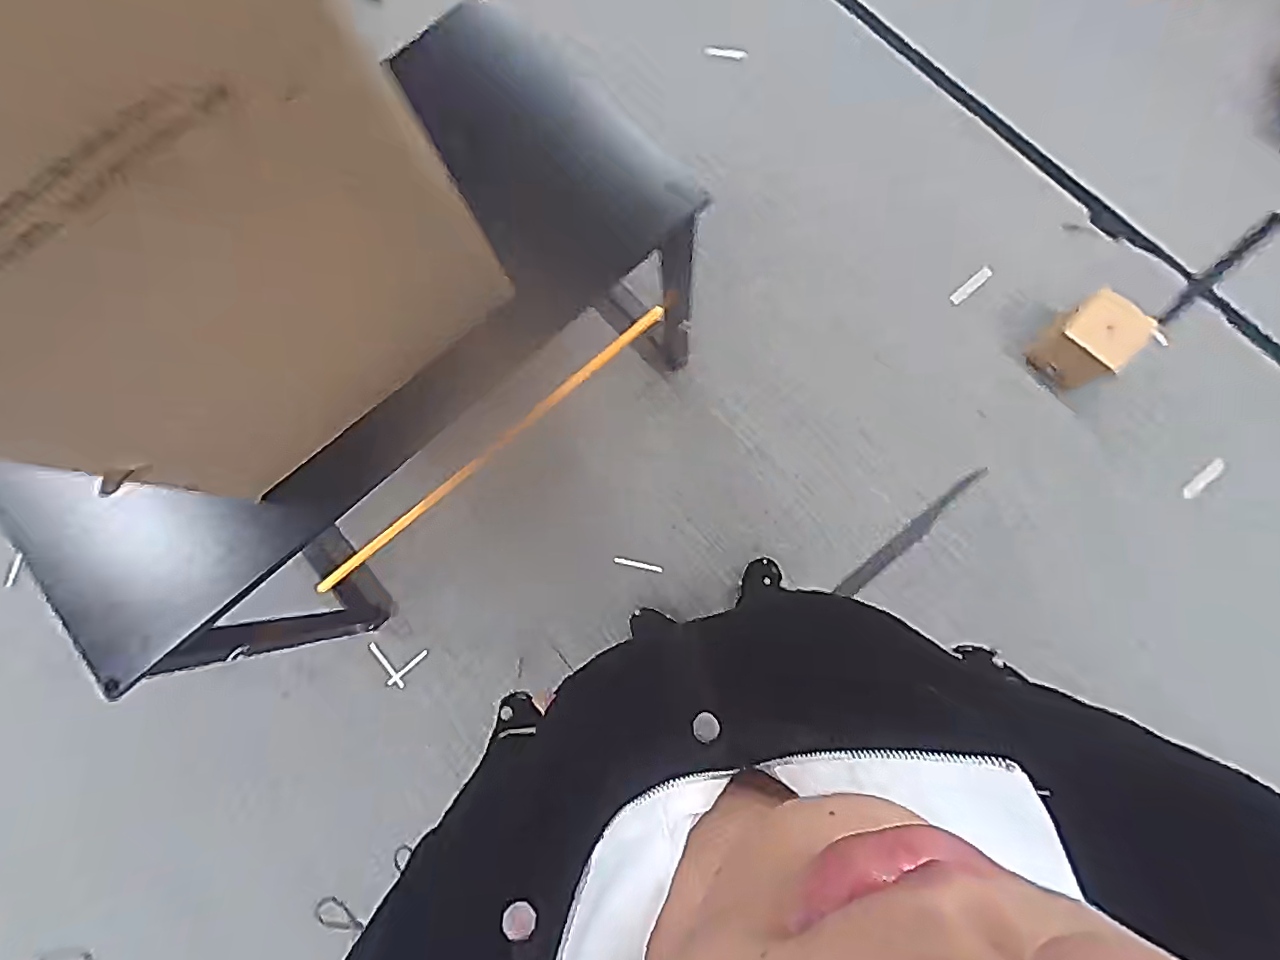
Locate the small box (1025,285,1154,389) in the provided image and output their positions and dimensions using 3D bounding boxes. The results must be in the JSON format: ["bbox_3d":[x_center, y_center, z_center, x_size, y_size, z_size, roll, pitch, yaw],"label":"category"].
[{"bbox_3d":[1.197,-0.377,1.457,0.168,0.176,0.179,42,87,10],"label":"small box"}]
